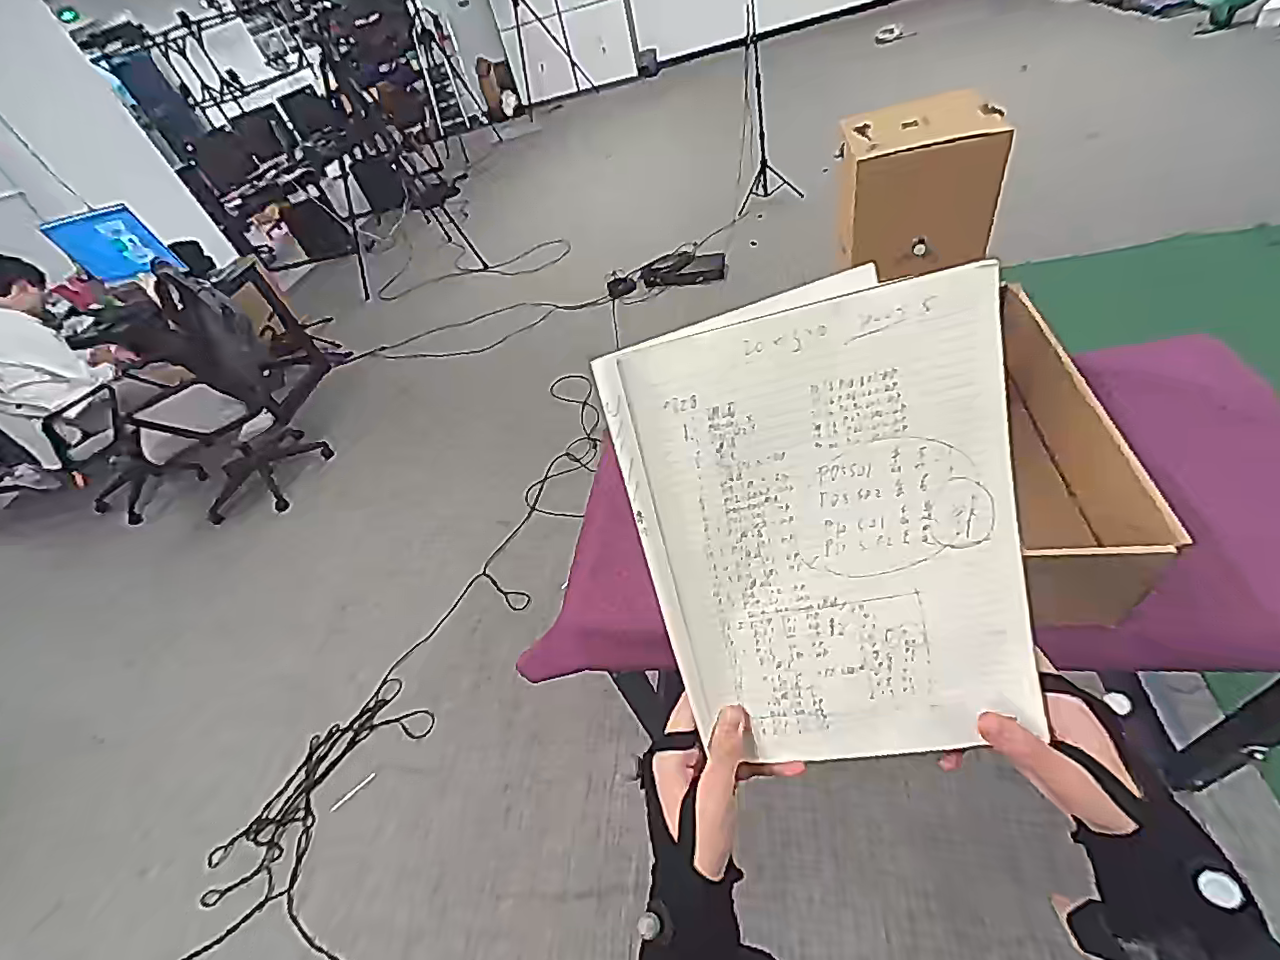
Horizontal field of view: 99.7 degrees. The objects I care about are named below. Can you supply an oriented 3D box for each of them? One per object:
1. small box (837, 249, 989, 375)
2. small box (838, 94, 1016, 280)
[{"bbox_3d":[0.421,-0.291,0.869,0.179,0.176,0.168,-6,46,13],"label":"small box"},{"bbox_3d":[0.381,-0.404,0.756,0.179,0.176,0.168,-3,47,14],"label":"small box"}]
